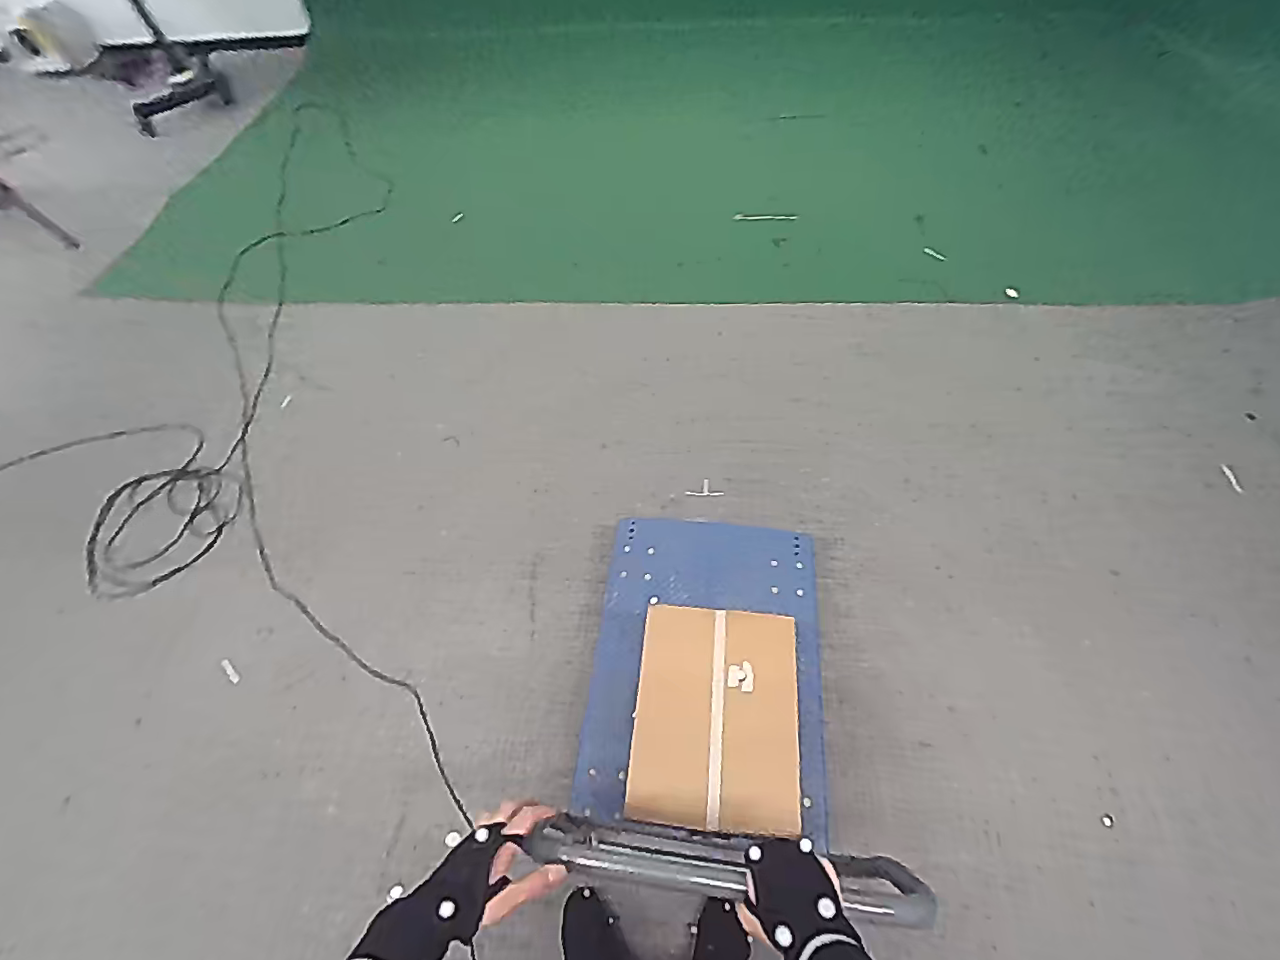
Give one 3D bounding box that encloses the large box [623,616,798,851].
[{"bbox_3d":[0.150,0.553,1.179,0.320,0.320,0.408,4,56,6],"label":"large box"}]
